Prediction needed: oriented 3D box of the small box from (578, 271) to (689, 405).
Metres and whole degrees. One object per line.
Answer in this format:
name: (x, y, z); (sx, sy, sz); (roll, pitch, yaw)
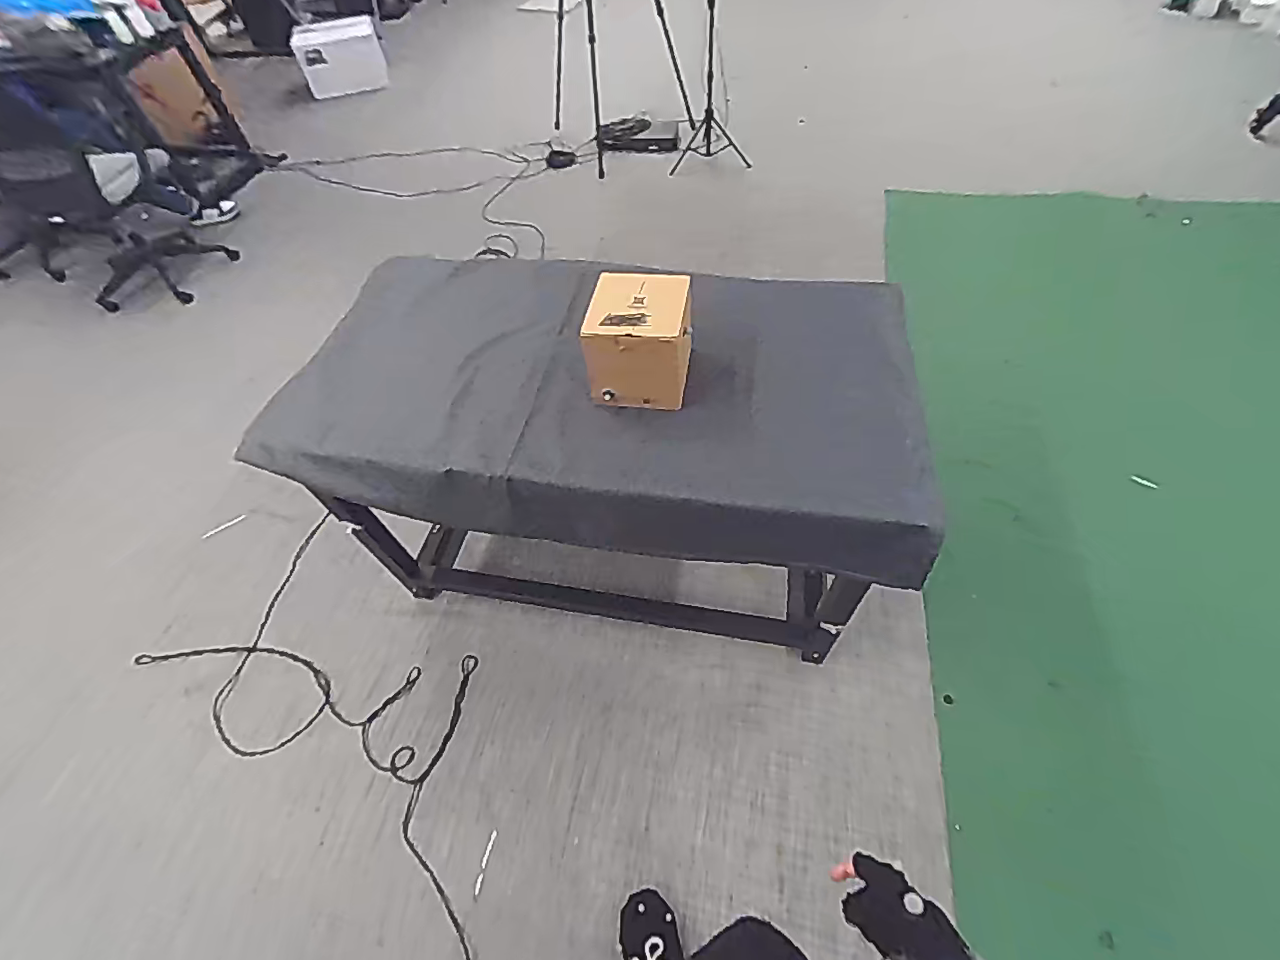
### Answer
small box: (-0.001, -0.256, 0.984); (0.168, 0.176, 0.179); (5, 54, 9)
